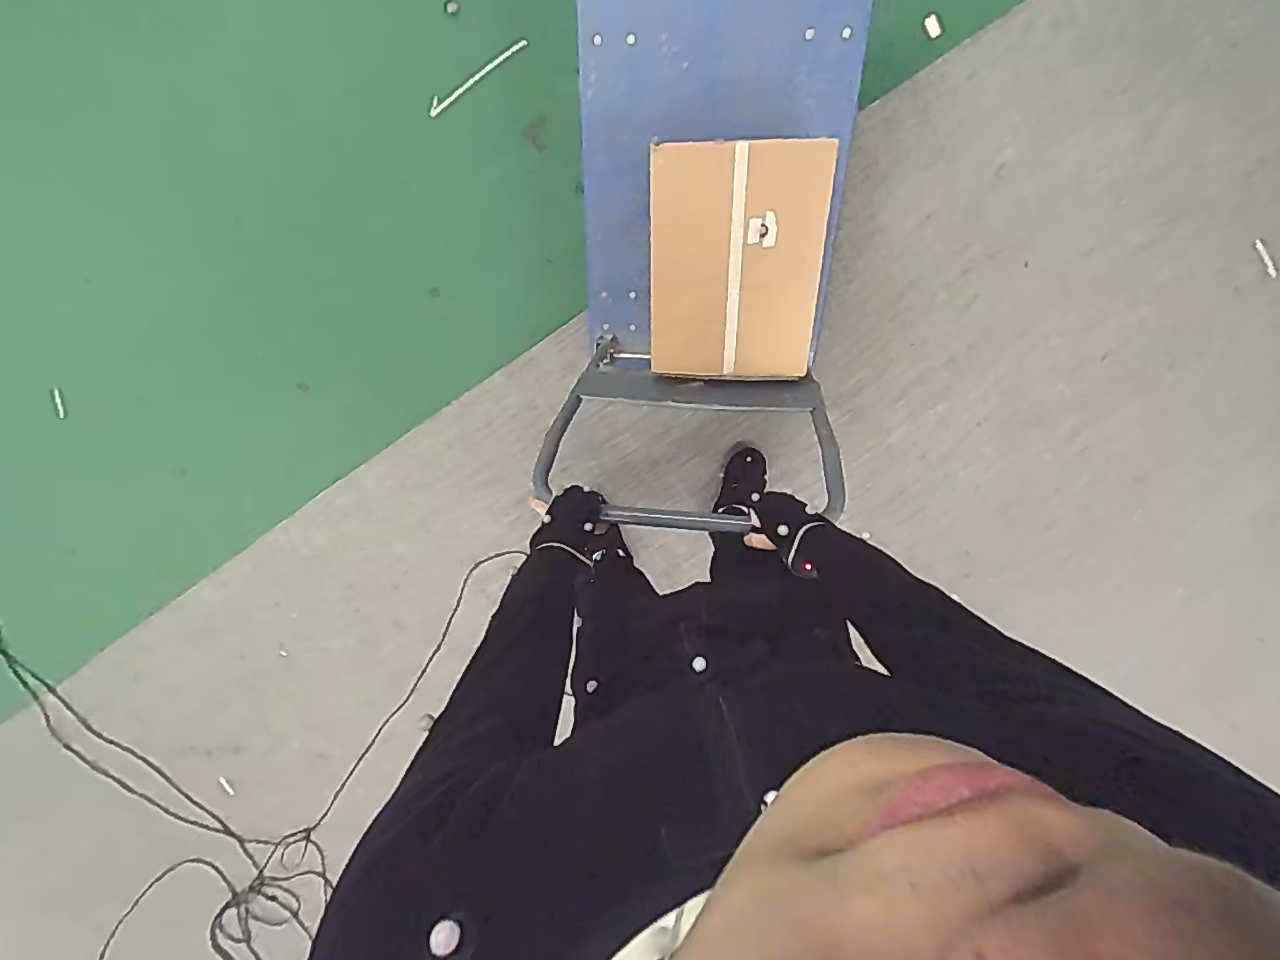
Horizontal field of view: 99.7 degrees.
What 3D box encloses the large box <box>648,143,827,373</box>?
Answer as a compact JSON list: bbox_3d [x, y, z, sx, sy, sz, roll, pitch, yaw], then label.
[{"bbox_3d":[0.193,-0.467,1.150,0.320,0.320,0.408,4,119,7],"label":"large box"}]
